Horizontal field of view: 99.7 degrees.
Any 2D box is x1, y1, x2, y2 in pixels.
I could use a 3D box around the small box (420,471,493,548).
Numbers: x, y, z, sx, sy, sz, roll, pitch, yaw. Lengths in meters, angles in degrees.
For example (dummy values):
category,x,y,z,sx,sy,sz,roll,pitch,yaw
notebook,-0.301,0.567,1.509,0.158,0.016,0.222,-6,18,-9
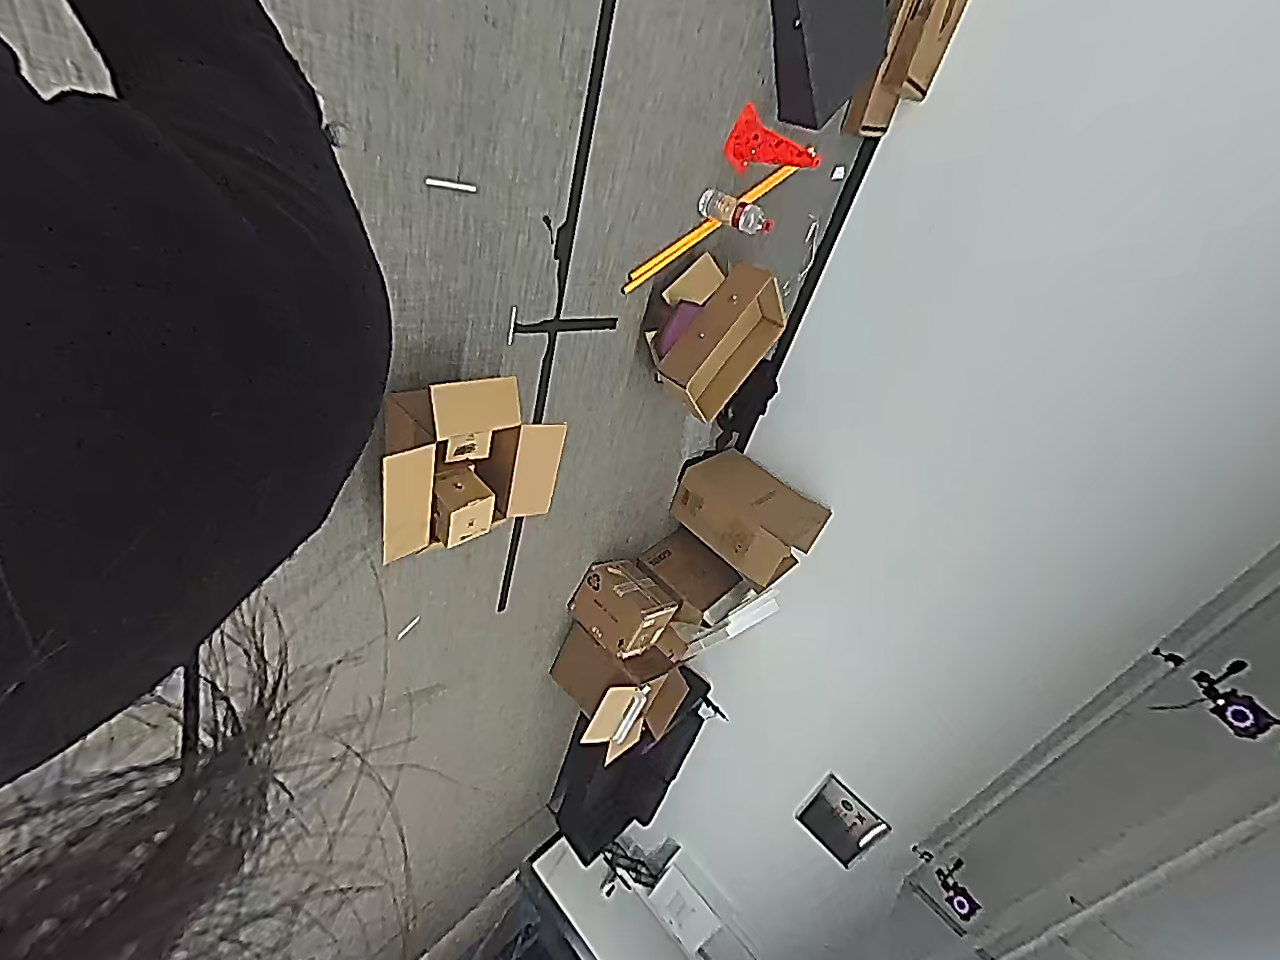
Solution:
category,x,y,z,sx,sy,sz,roll,pitch,yaw
small box,-0.615,0.087,1.803,0.168,0.176,0.179,-25,145,-44
